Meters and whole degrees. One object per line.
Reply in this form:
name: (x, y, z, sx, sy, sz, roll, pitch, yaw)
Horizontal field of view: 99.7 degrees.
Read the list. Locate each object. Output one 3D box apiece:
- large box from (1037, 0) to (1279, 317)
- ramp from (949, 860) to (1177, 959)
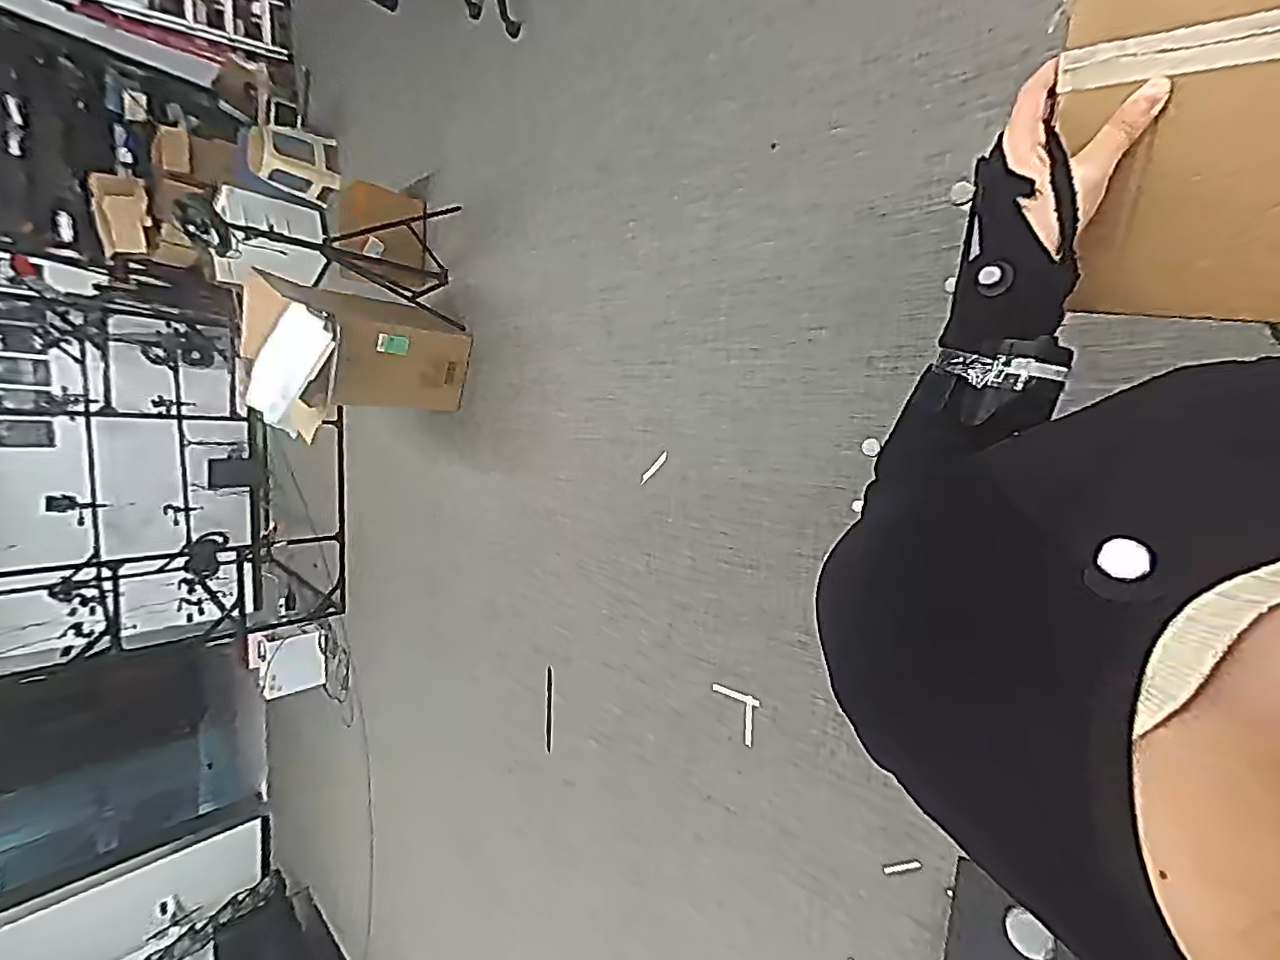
large box: (0.498, -0.293, 0.275, 0.408, 0.320, 0.320, 19, 144, 40)
ramp: (0.876, 1.416, 1.121, 0.509, 0.206, 0.991, 5, 96, 44)
